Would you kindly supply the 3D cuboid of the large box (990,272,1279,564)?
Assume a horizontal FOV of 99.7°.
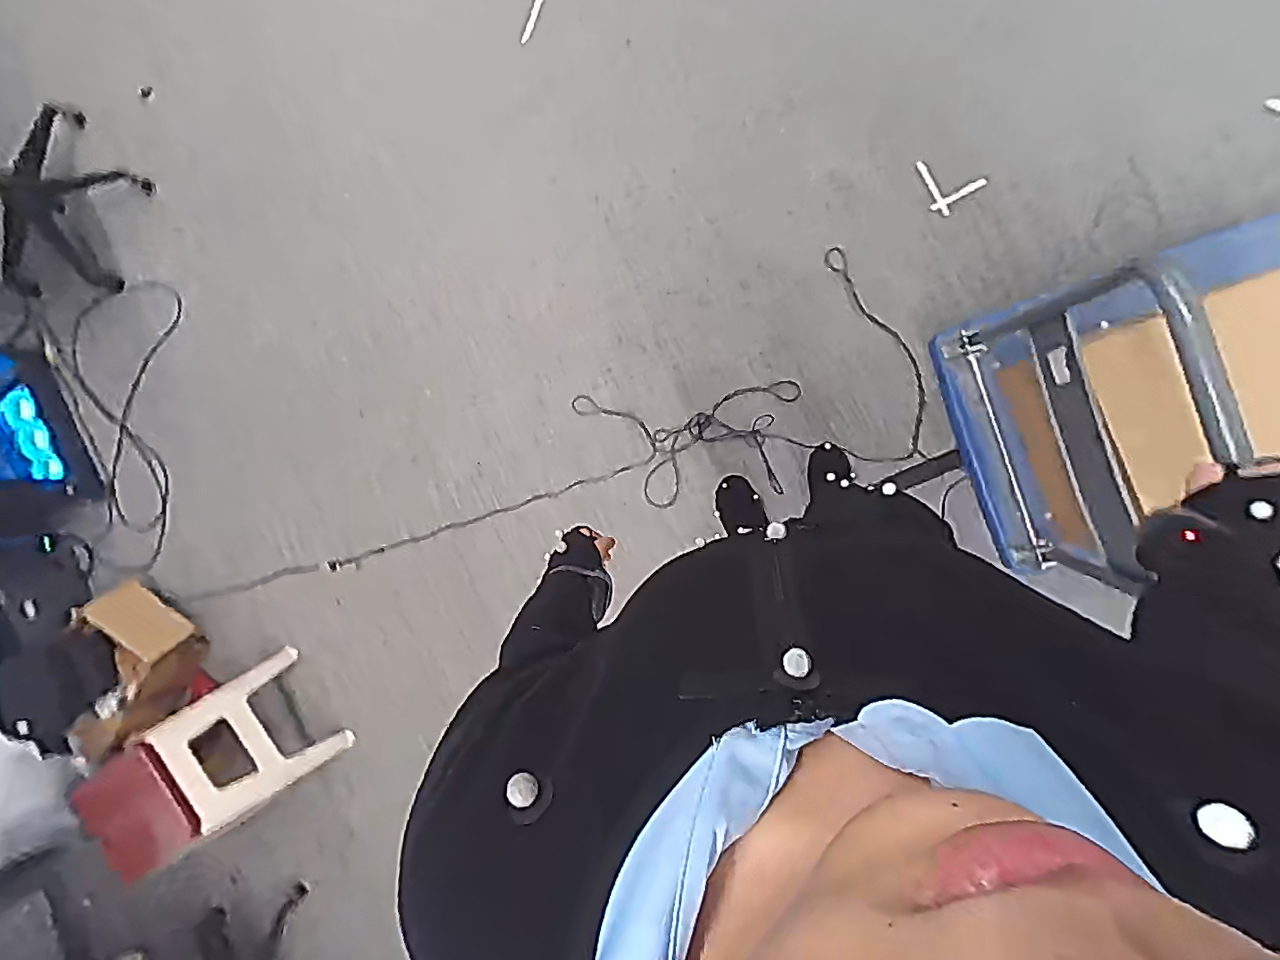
[{"bbox_3d":[0.961,-0.106,1.029,0.320,0.320,0.408,-23,90,12],"label":"large box"}]
